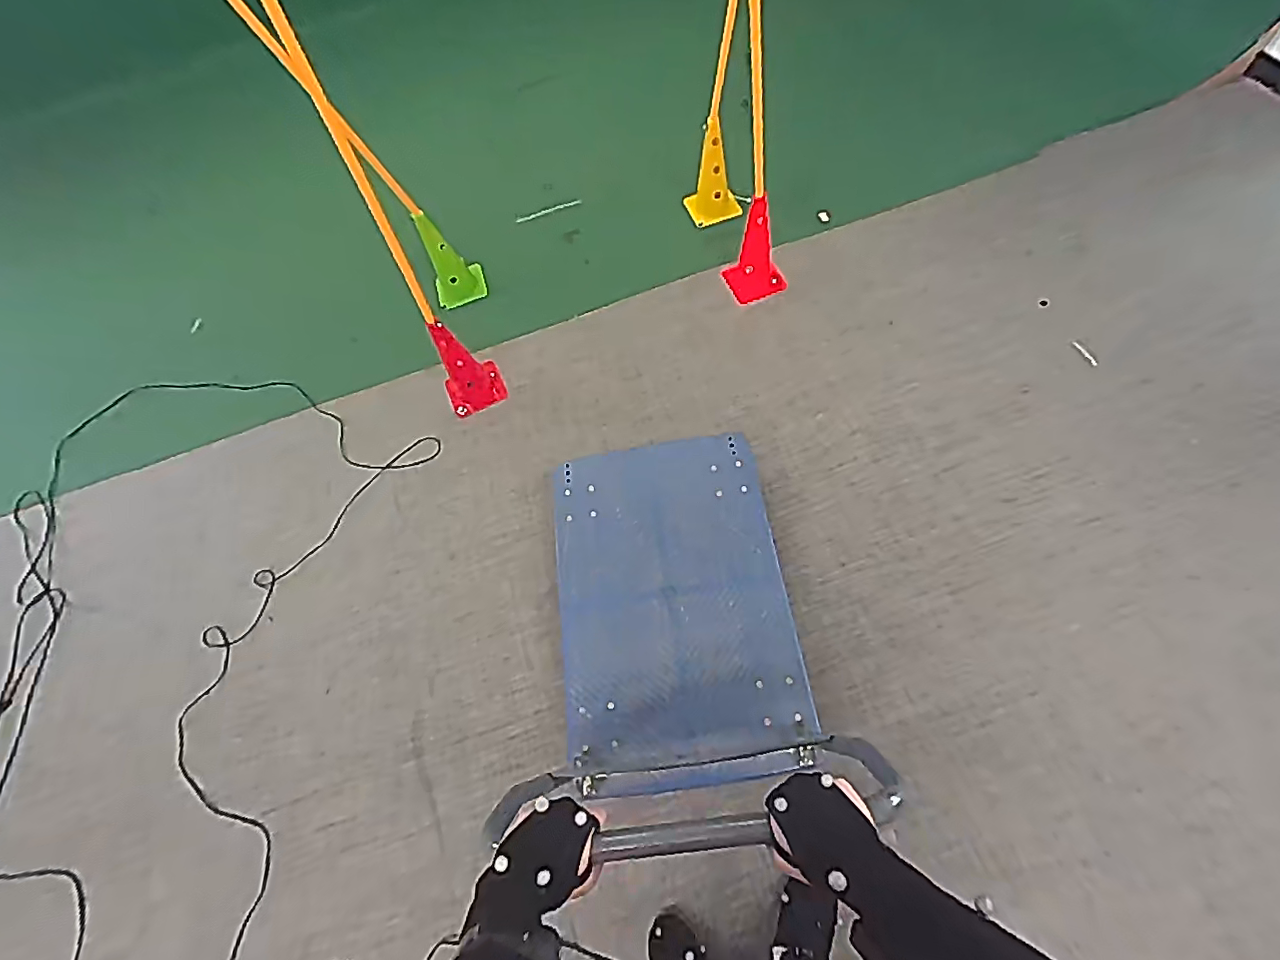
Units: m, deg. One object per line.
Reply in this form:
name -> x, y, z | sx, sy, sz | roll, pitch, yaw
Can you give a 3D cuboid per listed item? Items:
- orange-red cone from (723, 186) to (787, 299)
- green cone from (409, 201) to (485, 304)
orange-red cone -> 0.406, -0.847, 1.878 | 0.198, 0.360, 0.199 | -19, 61, -2
green cone -> -0.768, -0.891, 2.069 | 0.200, 0.368, 0.202 | -20, 62, -1
